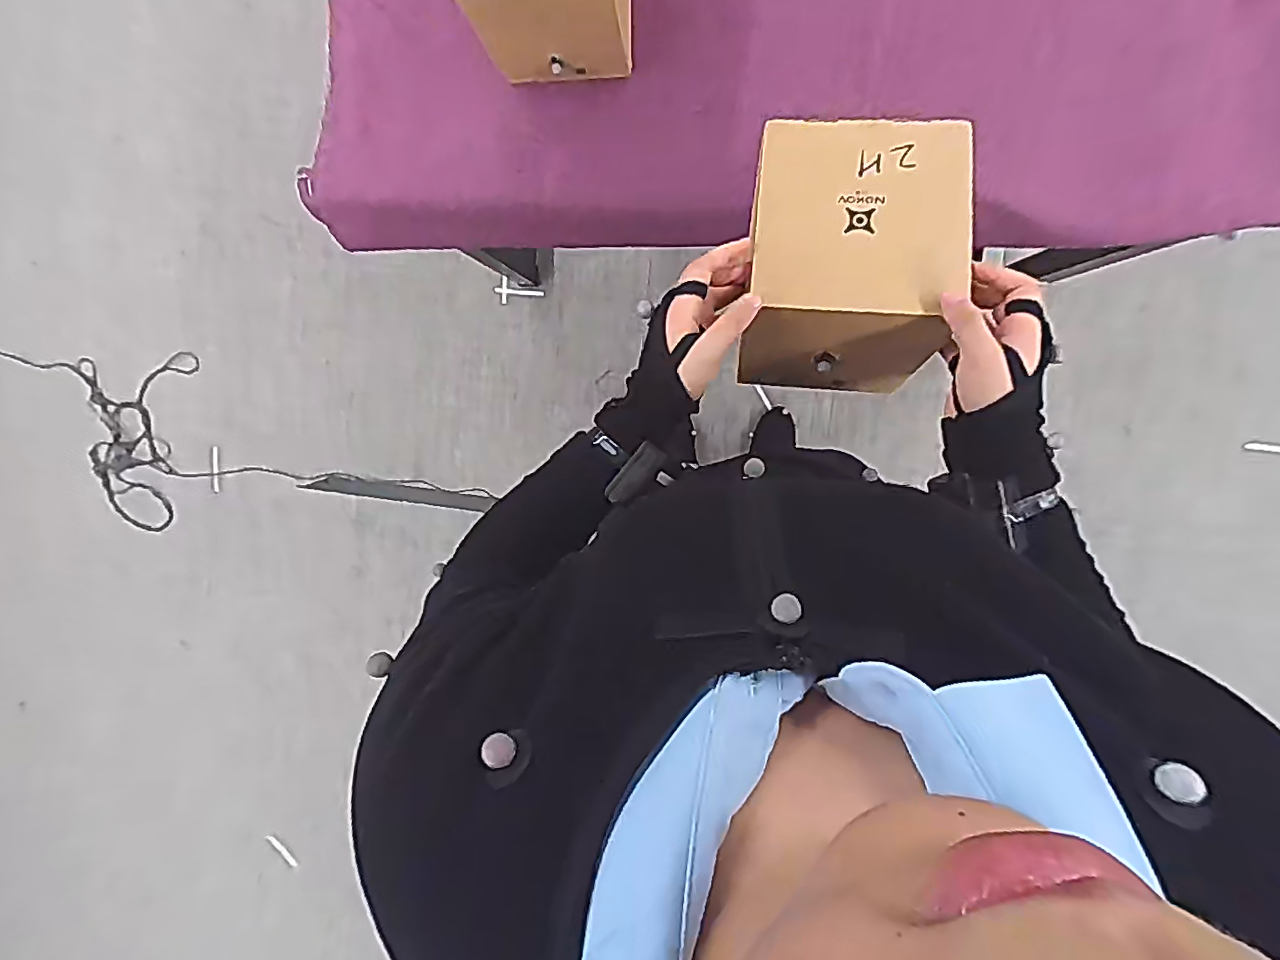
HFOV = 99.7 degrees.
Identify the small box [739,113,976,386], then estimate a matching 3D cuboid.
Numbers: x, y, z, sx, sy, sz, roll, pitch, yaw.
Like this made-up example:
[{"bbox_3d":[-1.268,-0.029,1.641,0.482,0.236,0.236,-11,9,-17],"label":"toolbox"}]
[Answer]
[{"bbox_3d":[0.188,-0.202,0.510,0.168,0.176,0.179,6,78,7],"label":"small box"}]
